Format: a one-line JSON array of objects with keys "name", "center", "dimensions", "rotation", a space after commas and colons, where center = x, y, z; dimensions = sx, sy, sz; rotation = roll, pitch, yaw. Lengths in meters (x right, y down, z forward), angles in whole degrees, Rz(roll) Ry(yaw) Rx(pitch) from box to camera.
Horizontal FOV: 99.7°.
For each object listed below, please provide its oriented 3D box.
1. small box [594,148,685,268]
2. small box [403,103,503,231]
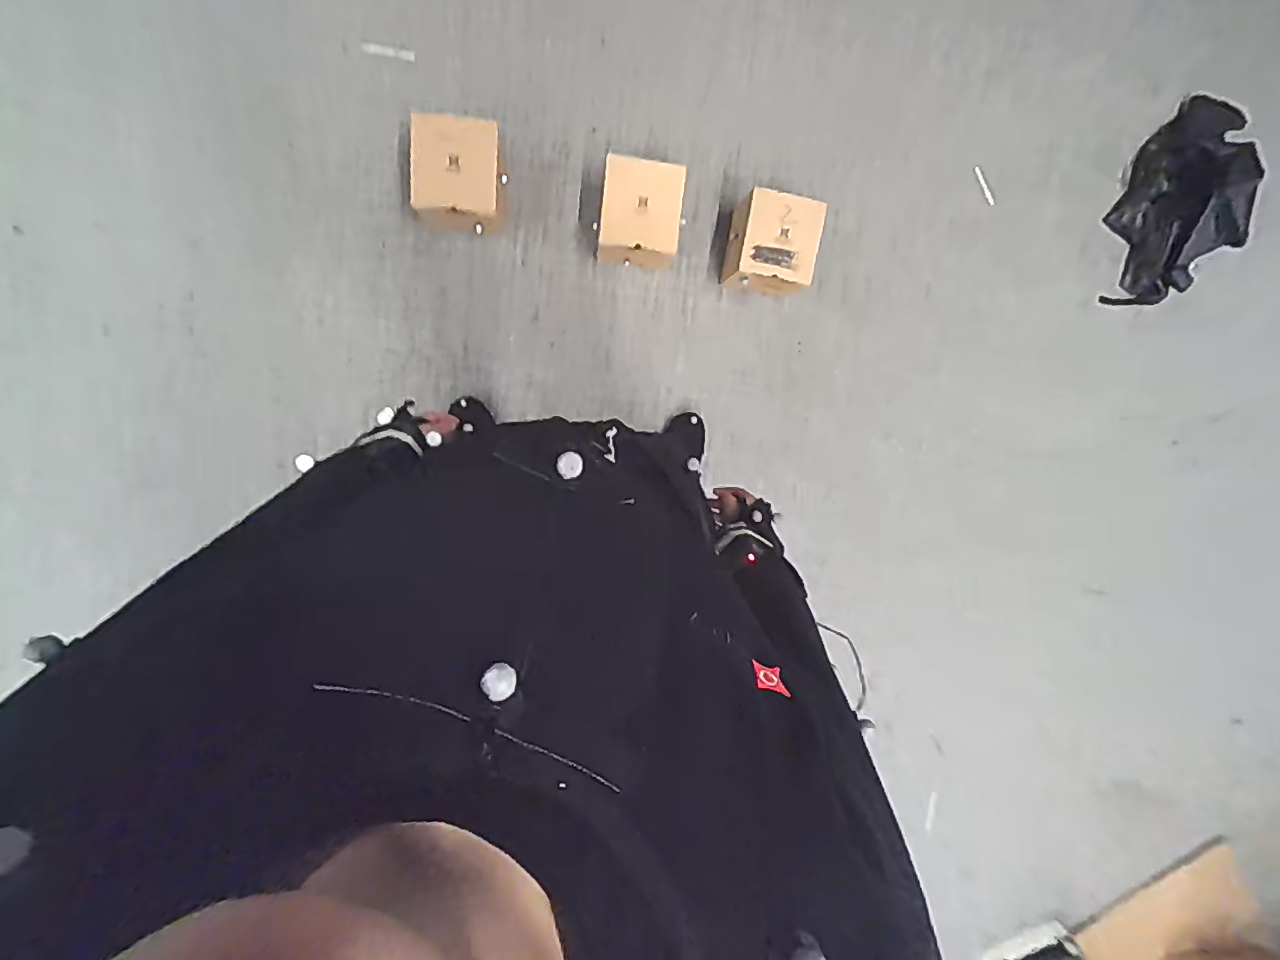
[{"name": "small box", "center": [-0.009, -0.576, 1.166], "dimensions": [0.168, 0.176, 0.179], "rotation": [5, 100, -8]}, {"name": "small box", "center": [-0.377, -0.630, 1.113], "dimensions": [0.168, 0.176, 0.179], "rotation": [2, 99, -8]}]
